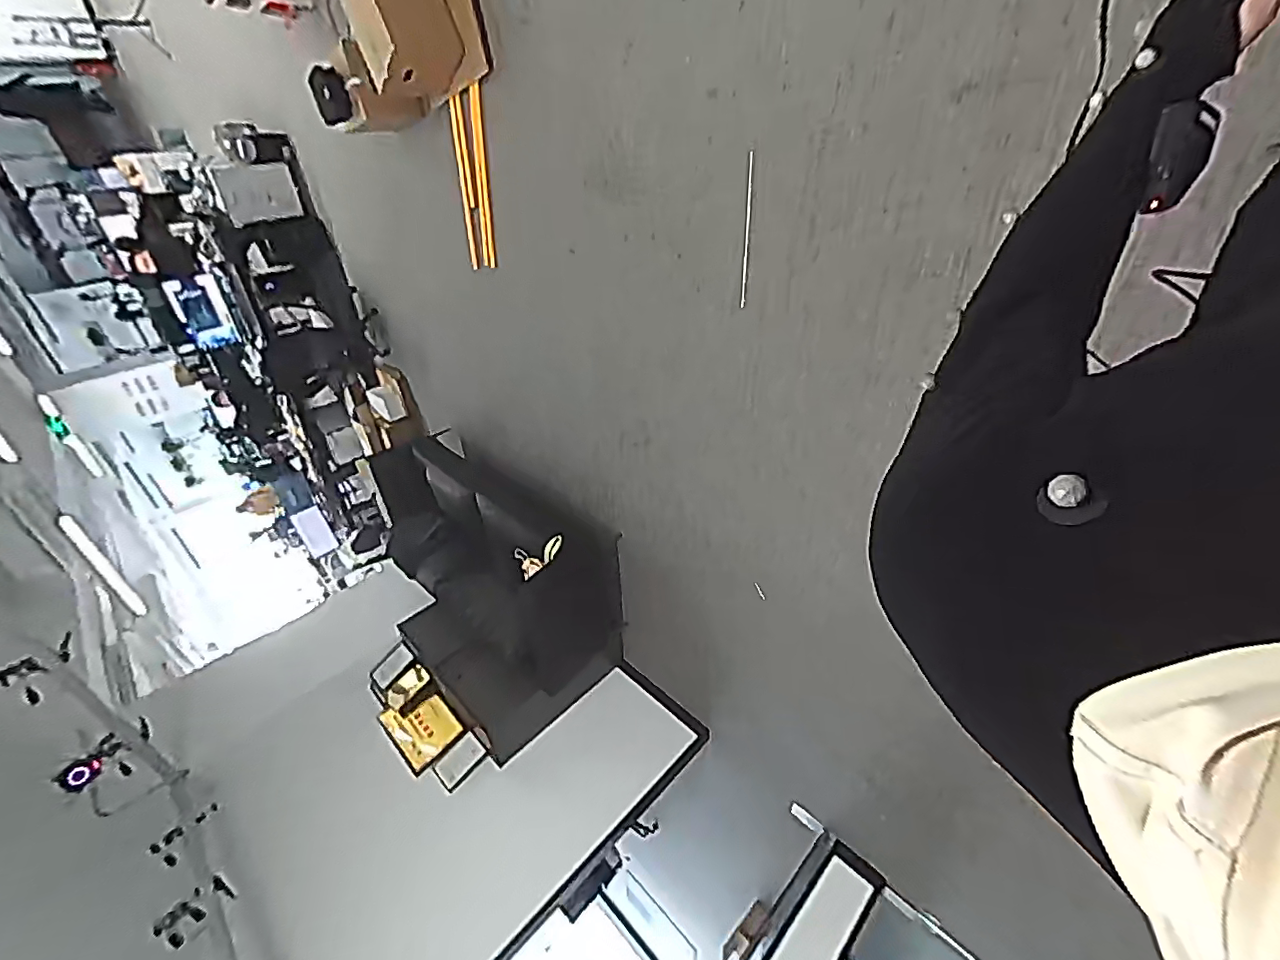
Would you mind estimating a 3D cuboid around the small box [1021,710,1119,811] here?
[{"bbox_3d":[1.294,0.838,1.625,0.168,0.176,0.179,31,136,33],"label":"small box"}]
